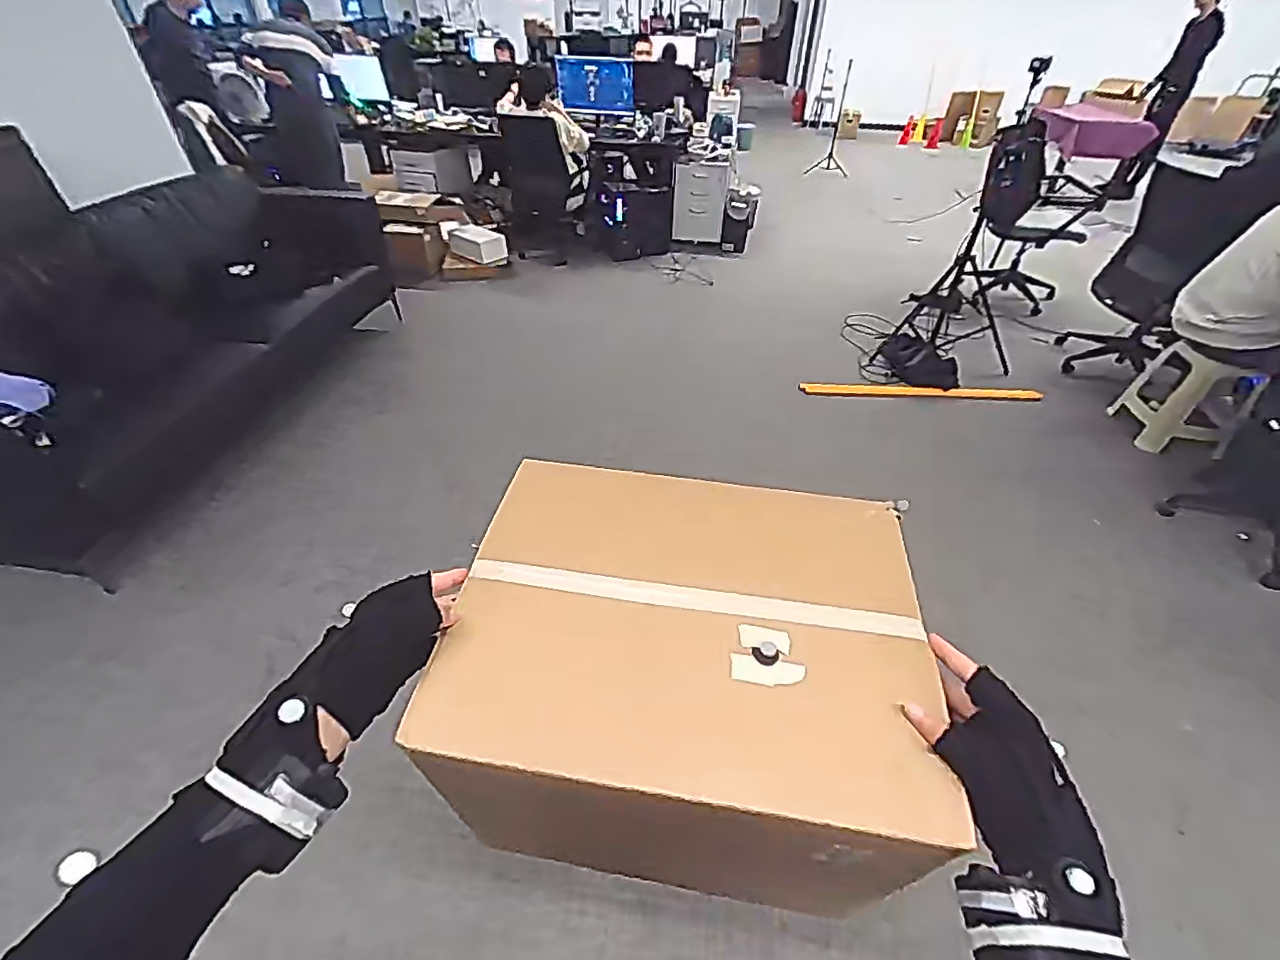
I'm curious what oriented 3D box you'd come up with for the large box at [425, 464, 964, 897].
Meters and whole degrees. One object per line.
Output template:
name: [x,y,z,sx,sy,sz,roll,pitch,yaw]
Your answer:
large box: [0.046,0.215,0.599,0.408,0.320,0.320,8,45,5]
